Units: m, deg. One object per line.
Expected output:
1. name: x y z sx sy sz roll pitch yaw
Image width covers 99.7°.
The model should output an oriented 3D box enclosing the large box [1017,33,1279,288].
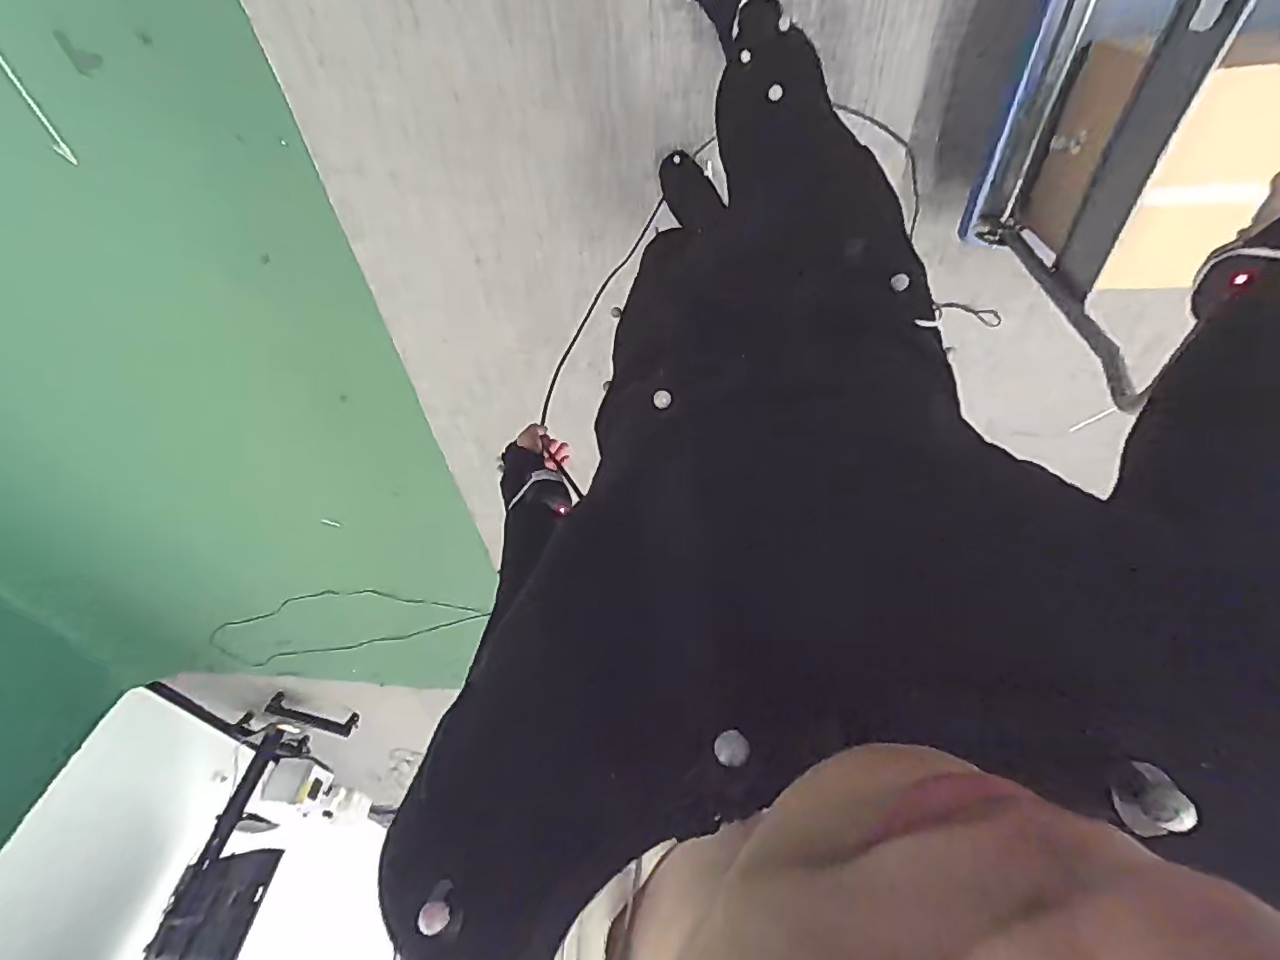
1. large box: 0.976 -0.553 0.933 0.408 0.320 0.320 0 135 6
